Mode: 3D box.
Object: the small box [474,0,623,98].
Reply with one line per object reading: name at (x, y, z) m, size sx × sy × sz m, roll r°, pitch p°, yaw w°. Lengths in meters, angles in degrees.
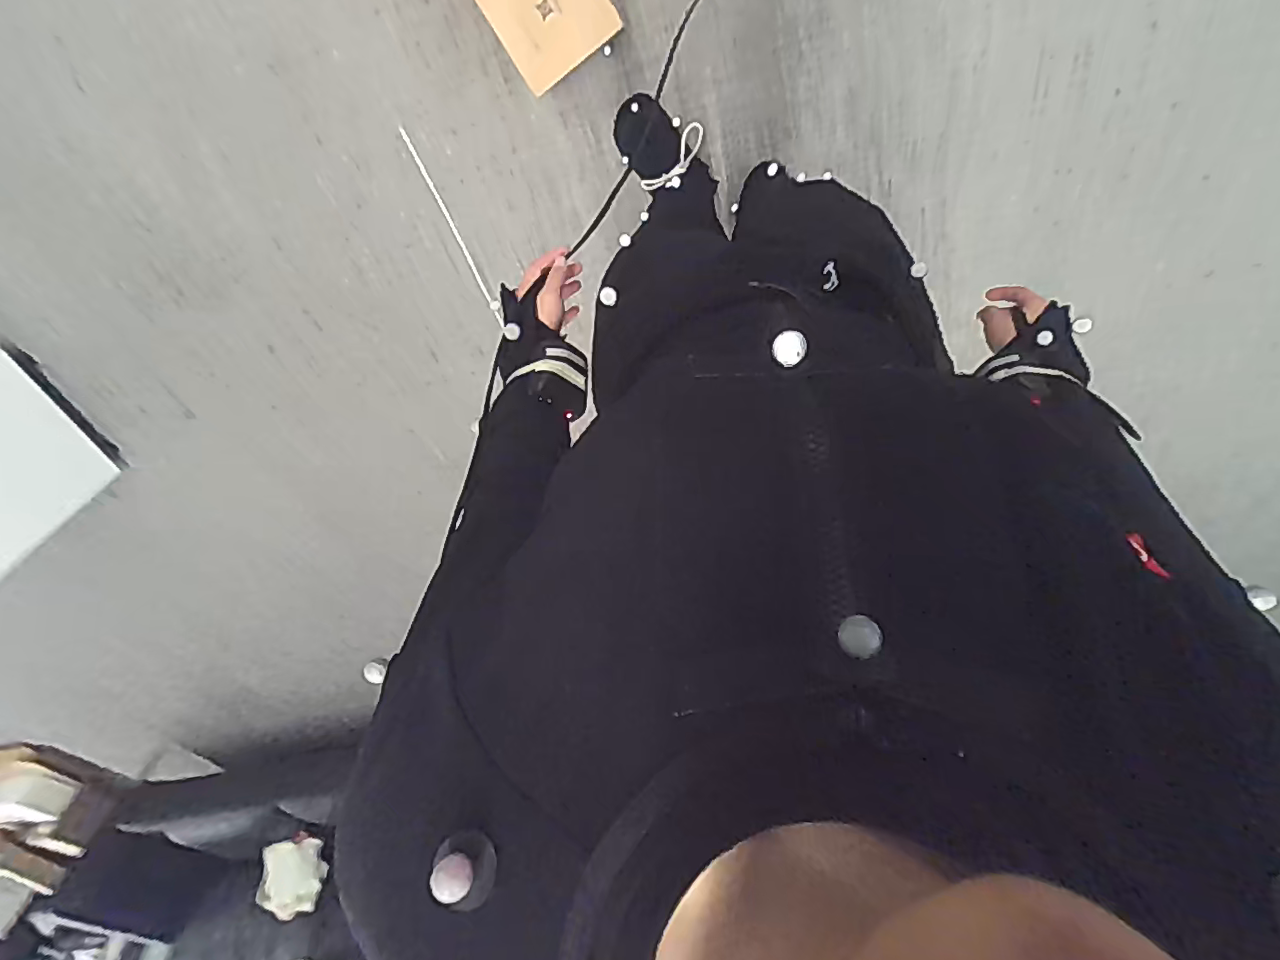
small box at (-0.142, -0.765, 0.875) m, size 0.179 × 0.176 × 0.168 m, roll -27°, pitch 124°, yaw 21°
